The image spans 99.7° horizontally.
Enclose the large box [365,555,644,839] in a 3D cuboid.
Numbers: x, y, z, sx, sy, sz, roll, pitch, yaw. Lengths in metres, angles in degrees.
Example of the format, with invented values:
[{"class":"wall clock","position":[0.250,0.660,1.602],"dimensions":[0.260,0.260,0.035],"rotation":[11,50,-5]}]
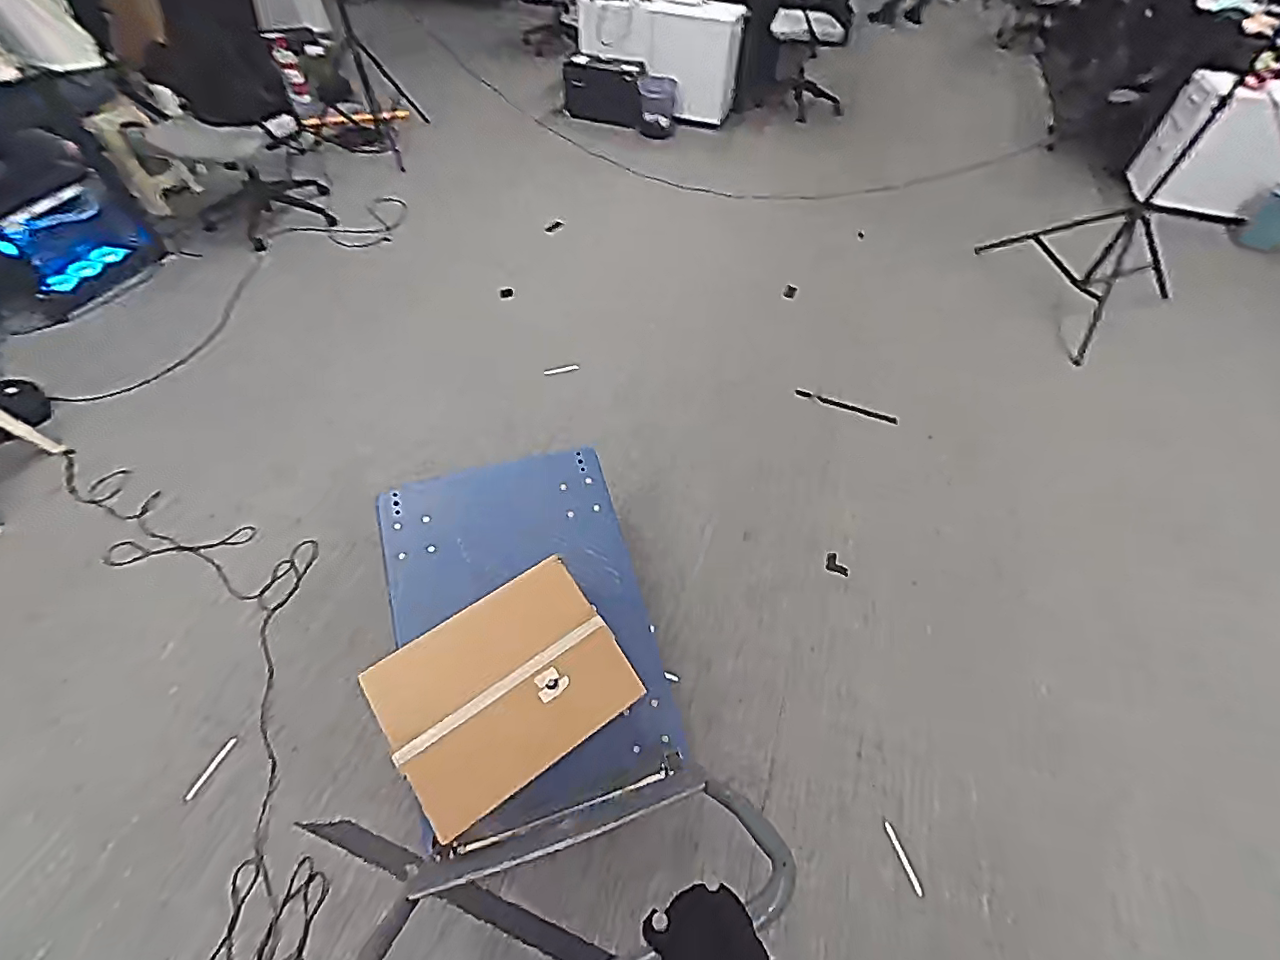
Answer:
[{"class":"large box","position":[-0.256,0.423,1.099],"dimensions":[0.408,0.320,0.320],"rotation":[-31,74,-20]}]
